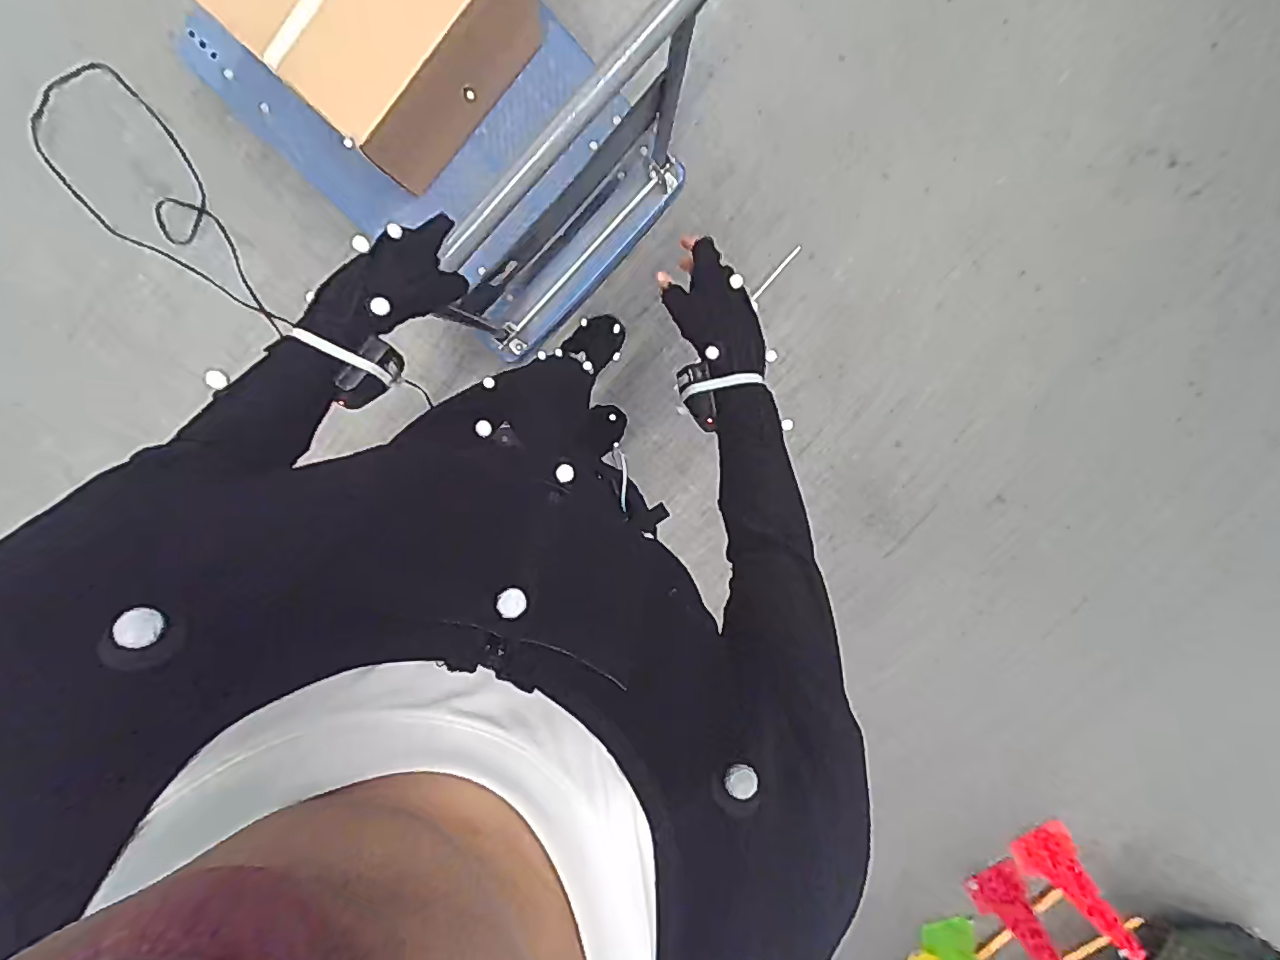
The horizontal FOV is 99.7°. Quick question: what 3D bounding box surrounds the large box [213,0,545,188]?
[{"bbox_3d":[-0.412,-0.807,0.926,0.320,0.320,0.408,42,98,-13],"label":"large box"}]
